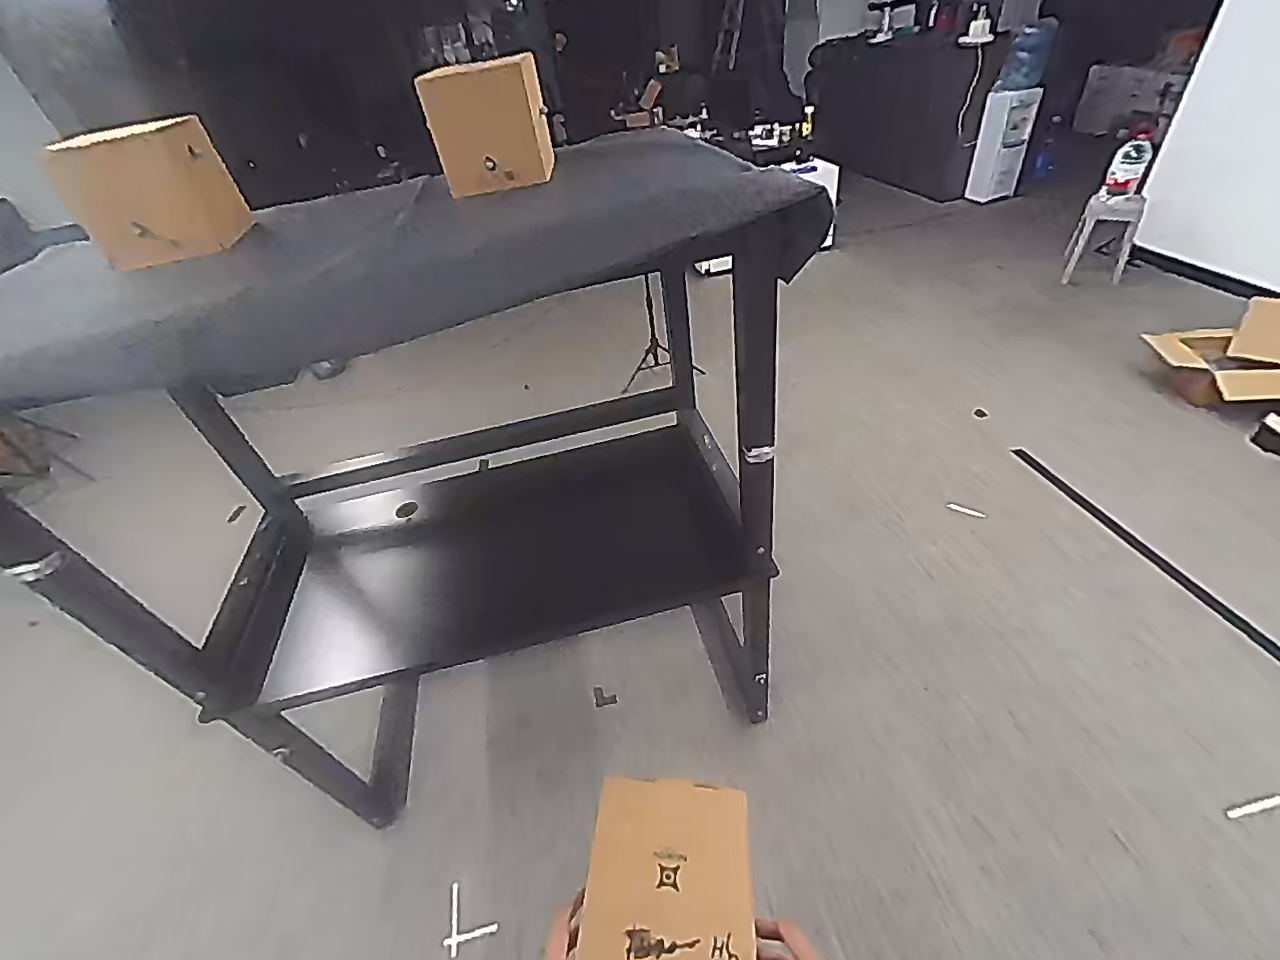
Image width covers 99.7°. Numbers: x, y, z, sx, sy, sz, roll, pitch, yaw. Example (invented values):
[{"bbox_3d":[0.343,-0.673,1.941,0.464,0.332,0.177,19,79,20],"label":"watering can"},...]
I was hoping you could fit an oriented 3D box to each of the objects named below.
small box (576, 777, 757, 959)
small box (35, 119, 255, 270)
[{"bbox_3d":[0.032,0.462,0.585,0.168,0.176,0.179,3,31,6],"label":"small box"},{"bbox_3d":[-0.760,-0.454,0.861,0.168,0.176,0.179,-15,42,-5],"label":"small box"}]
